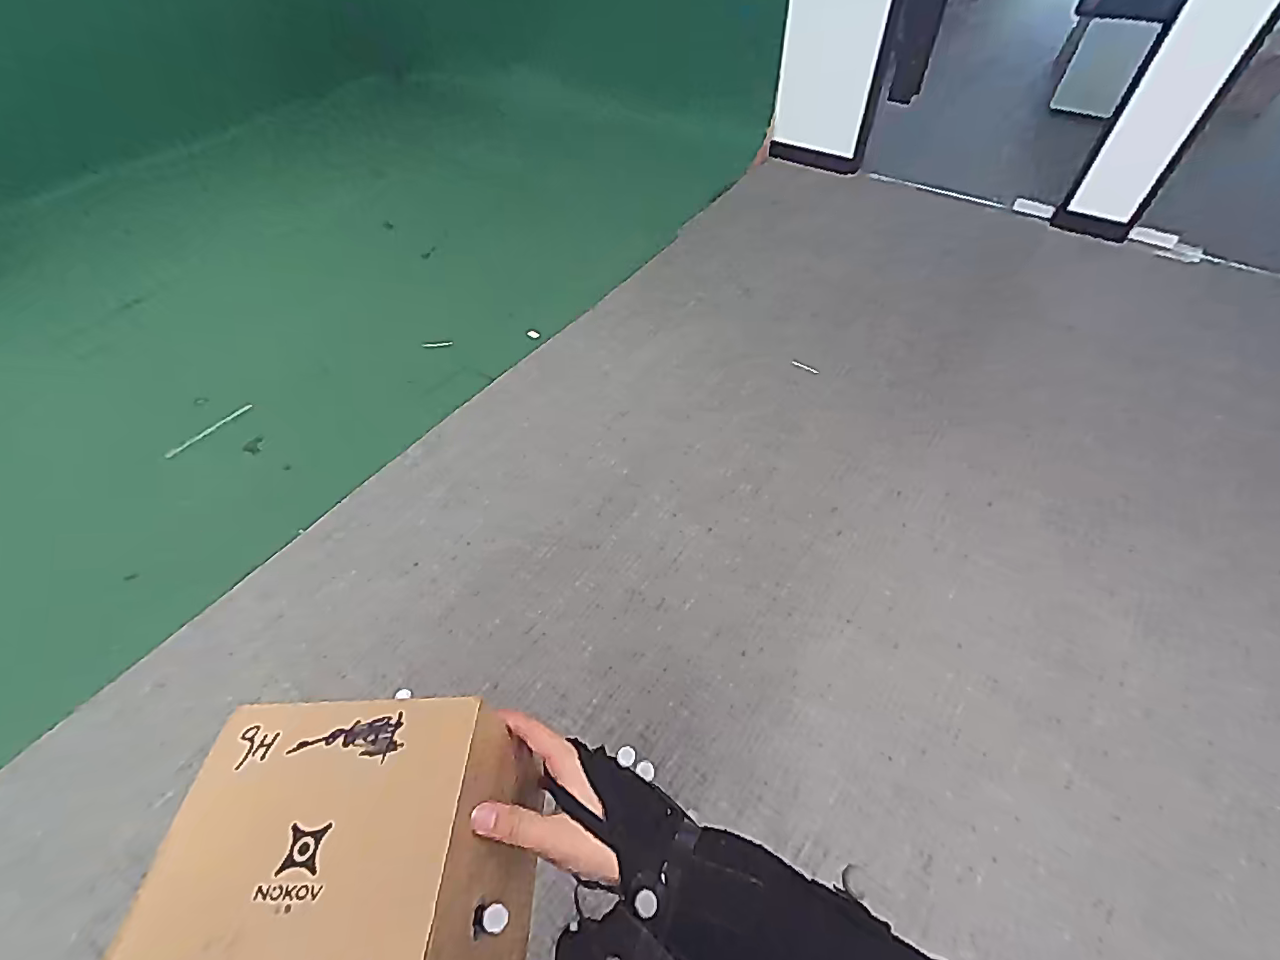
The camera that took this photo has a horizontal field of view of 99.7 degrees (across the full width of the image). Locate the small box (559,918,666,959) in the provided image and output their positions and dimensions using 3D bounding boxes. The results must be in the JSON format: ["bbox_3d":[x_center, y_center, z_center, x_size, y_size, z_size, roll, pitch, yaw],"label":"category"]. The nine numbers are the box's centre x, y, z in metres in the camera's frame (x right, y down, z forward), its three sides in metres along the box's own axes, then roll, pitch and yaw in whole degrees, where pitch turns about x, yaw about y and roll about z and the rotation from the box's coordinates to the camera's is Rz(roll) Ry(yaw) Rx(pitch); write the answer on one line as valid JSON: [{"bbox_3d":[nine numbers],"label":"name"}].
[{"bbox_3d":[-0.043,0.893,0.956,0.179,0.176,0.168,-10,47,3],"label":"small box"}]
